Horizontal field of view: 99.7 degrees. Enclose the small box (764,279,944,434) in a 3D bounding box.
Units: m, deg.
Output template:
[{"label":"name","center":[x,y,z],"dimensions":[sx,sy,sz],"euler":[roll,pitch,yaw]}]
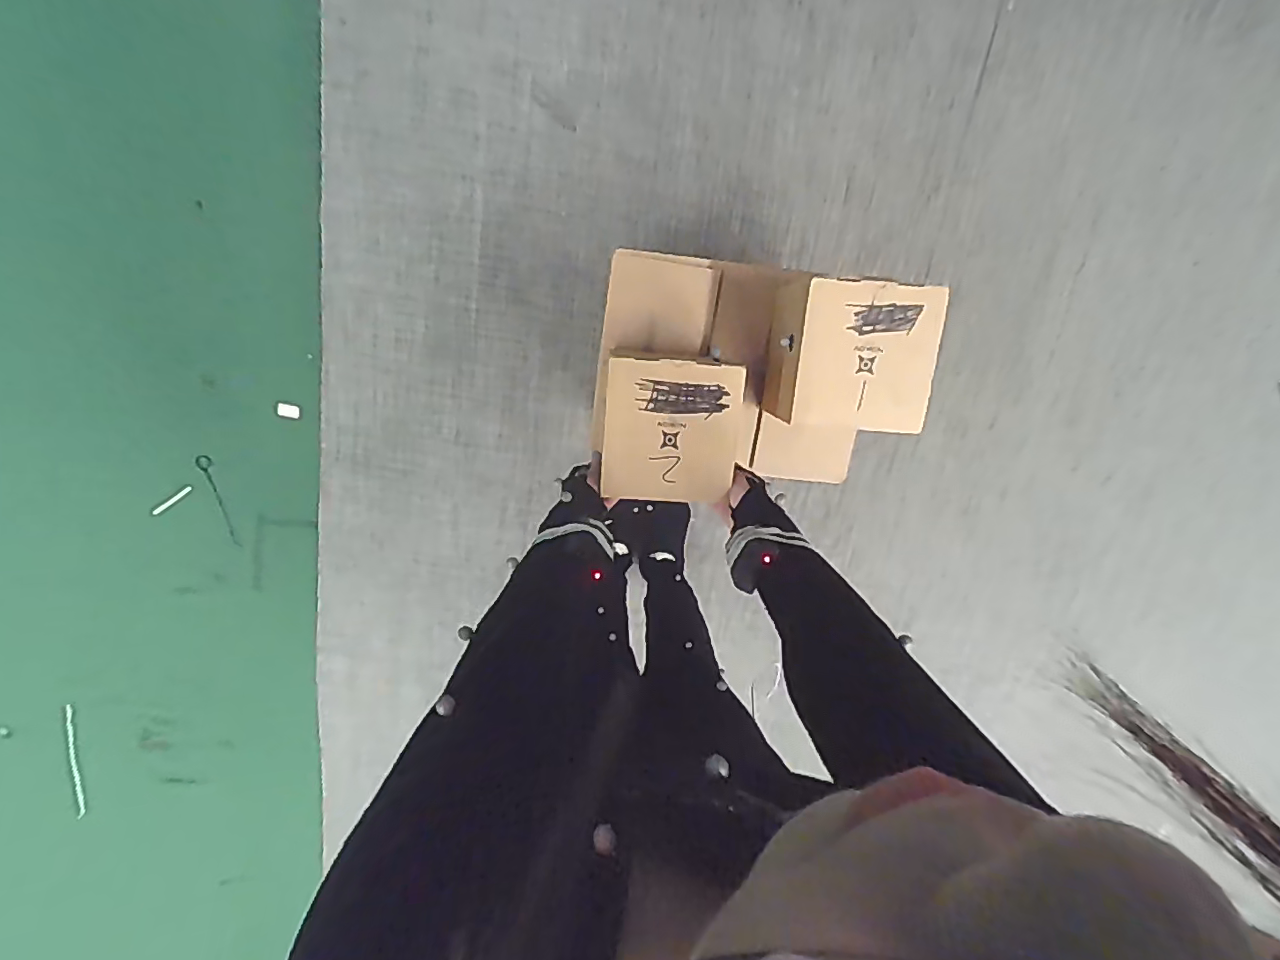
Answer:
[{"label":"small box","center":[0.272,-0.167,0.732],"dimensions":[0.168,0.176,0.179],"euler":[4,106,0]}]
